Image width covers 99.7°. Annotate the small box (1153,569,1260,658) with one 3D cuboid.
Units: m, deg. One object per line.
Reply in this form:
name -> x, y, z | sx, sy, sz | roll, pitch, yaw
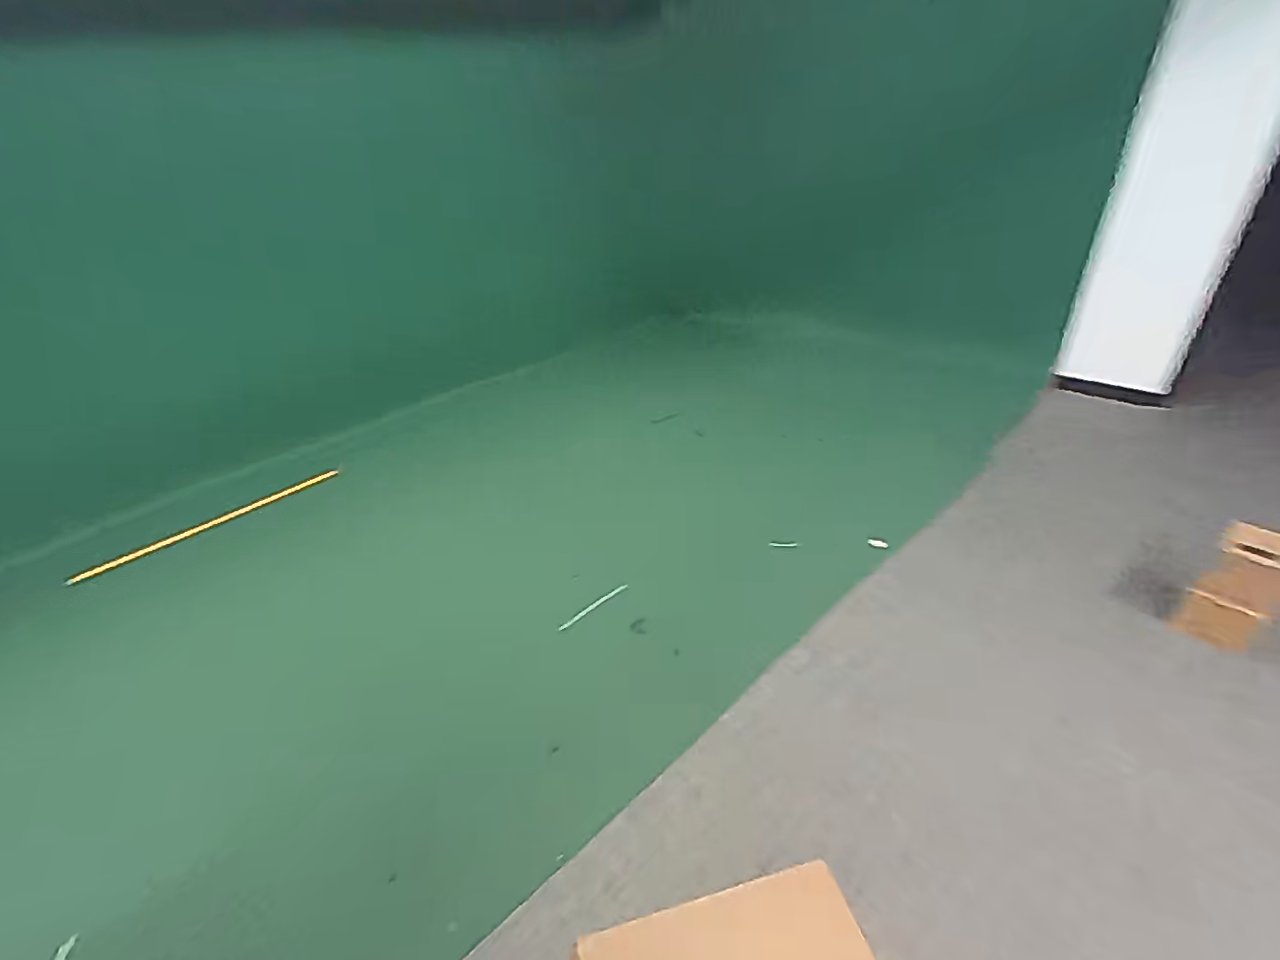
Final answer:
small box -> 1.783, 0.421, 1.710 | 0.179, 0.176, 0.168 | -26, 38, -26
